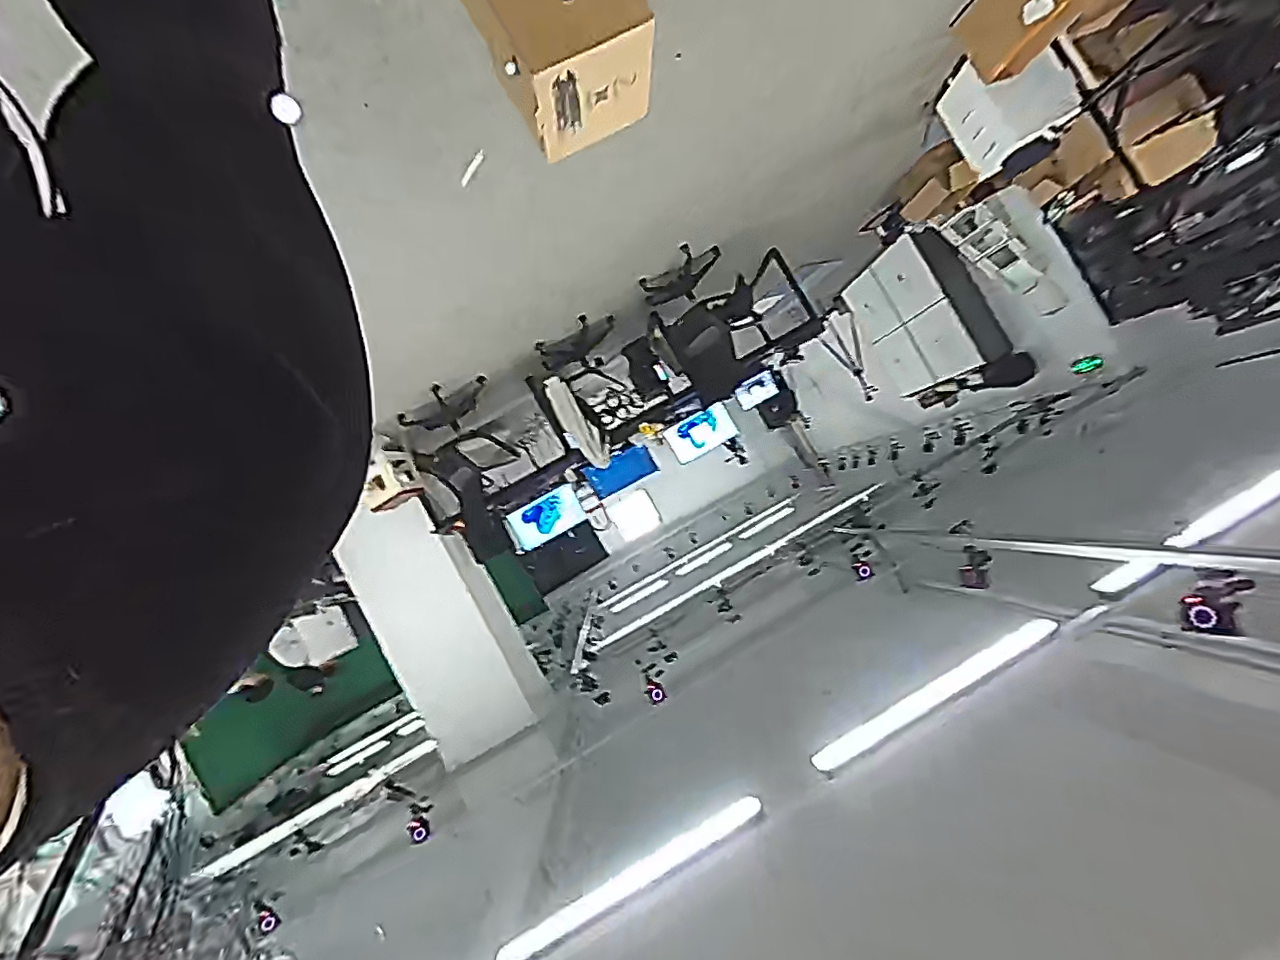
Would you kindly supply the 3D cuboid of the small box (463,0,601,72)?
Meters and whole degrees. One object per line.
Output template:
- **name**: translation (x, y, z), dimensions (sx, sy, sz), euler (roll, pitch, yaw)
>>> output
- **small box**: translation (-0.168, -0.735, 0.753), dimensions (0.179, 0.176, 0.168), euler (-28, 178, -7)
